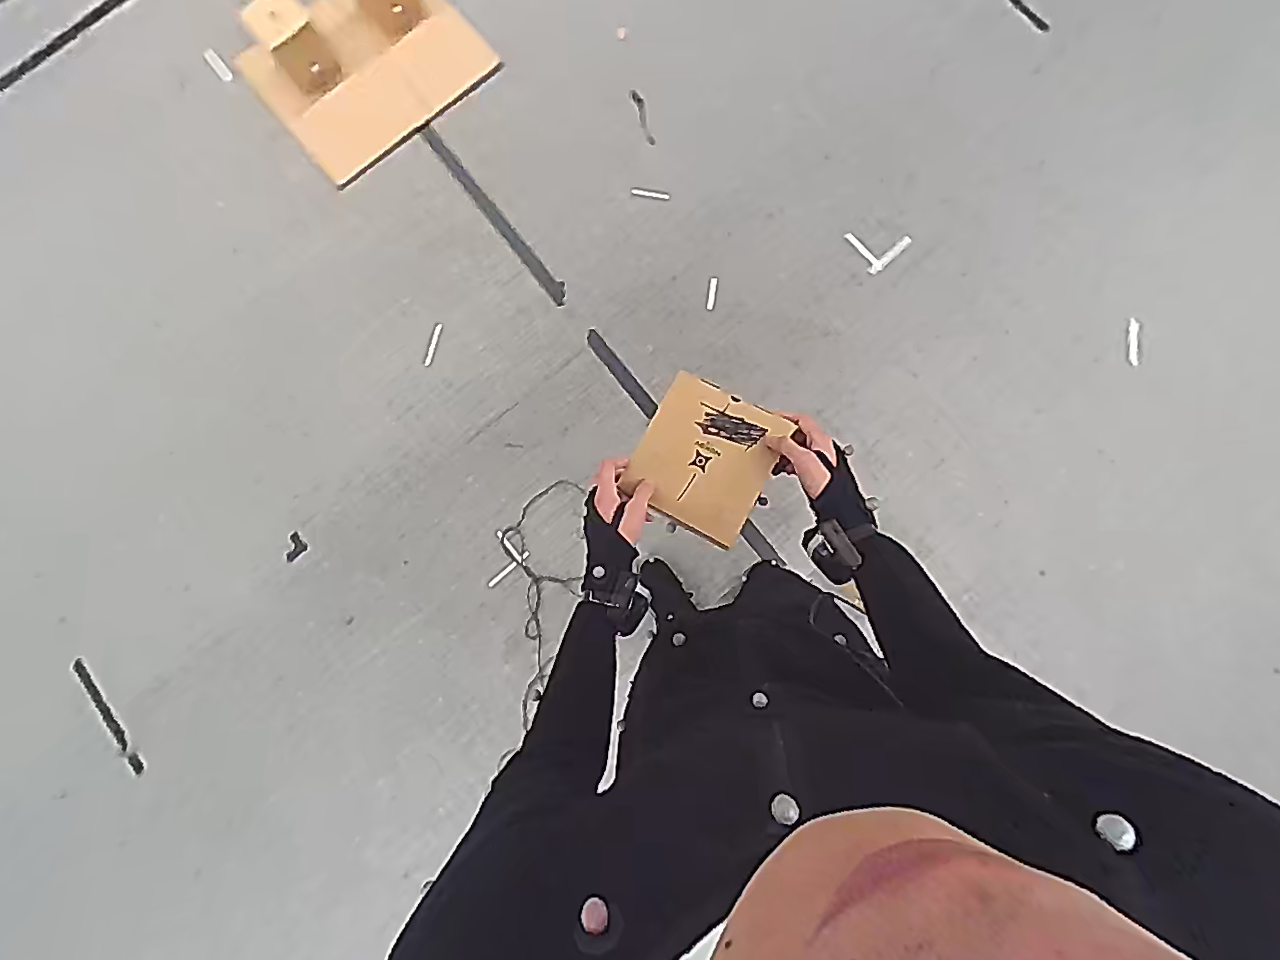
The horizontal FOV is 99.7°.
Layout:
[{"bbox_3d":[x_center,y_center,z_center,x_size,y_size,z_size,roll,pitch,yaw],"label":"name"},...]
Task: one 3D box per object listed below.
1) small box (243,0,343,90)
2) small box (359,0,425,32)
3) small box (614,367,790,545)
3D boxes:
[{"bbox_3d":[-1.113,-1.422,1.746,0.168,0.176,0.179,-40,84,-2],"label":"small box"},{"bbox_3d":[-0.847,-1.639,1.772,0.168,0.176,0.179,-44,84,-4],"label":"small box"},{"bbox_3d":[0.086,-0.023,0.750,0.168,0.176,0.179,27,86,11],"label":"small box"}]
